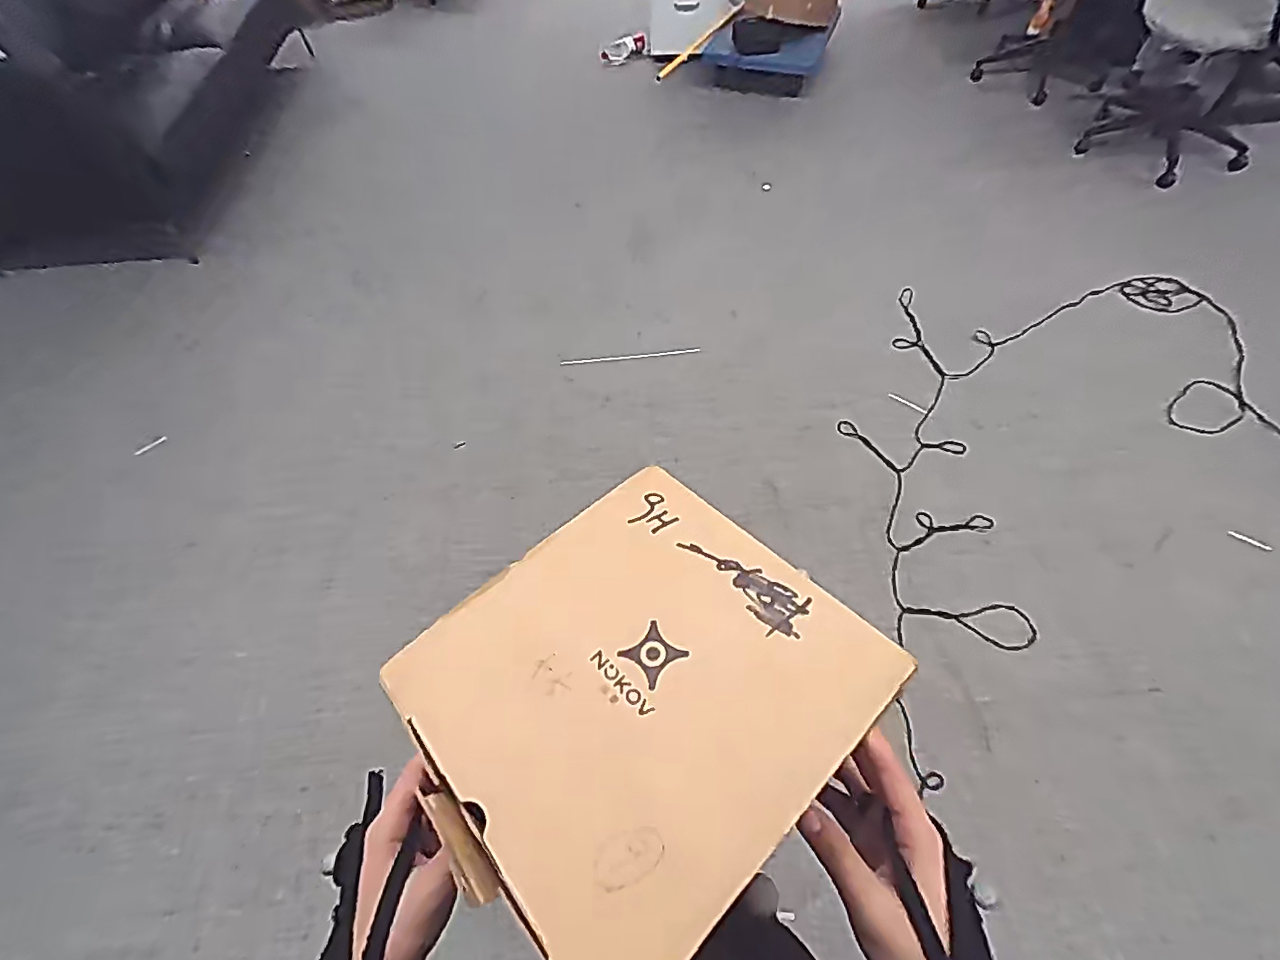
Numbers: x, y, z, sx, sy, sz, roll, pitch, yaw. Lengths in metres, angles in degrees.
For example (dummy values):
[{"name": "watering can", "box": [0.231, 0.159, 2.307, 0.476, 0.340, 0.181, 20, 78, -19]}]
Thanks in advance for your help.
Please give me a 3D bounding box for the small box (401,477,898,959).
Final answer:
[{"name": "small box", "box": [0.008, 0.139, 0.310, 0.179, 0.176, 0.168, -37, 56, -23]}]
